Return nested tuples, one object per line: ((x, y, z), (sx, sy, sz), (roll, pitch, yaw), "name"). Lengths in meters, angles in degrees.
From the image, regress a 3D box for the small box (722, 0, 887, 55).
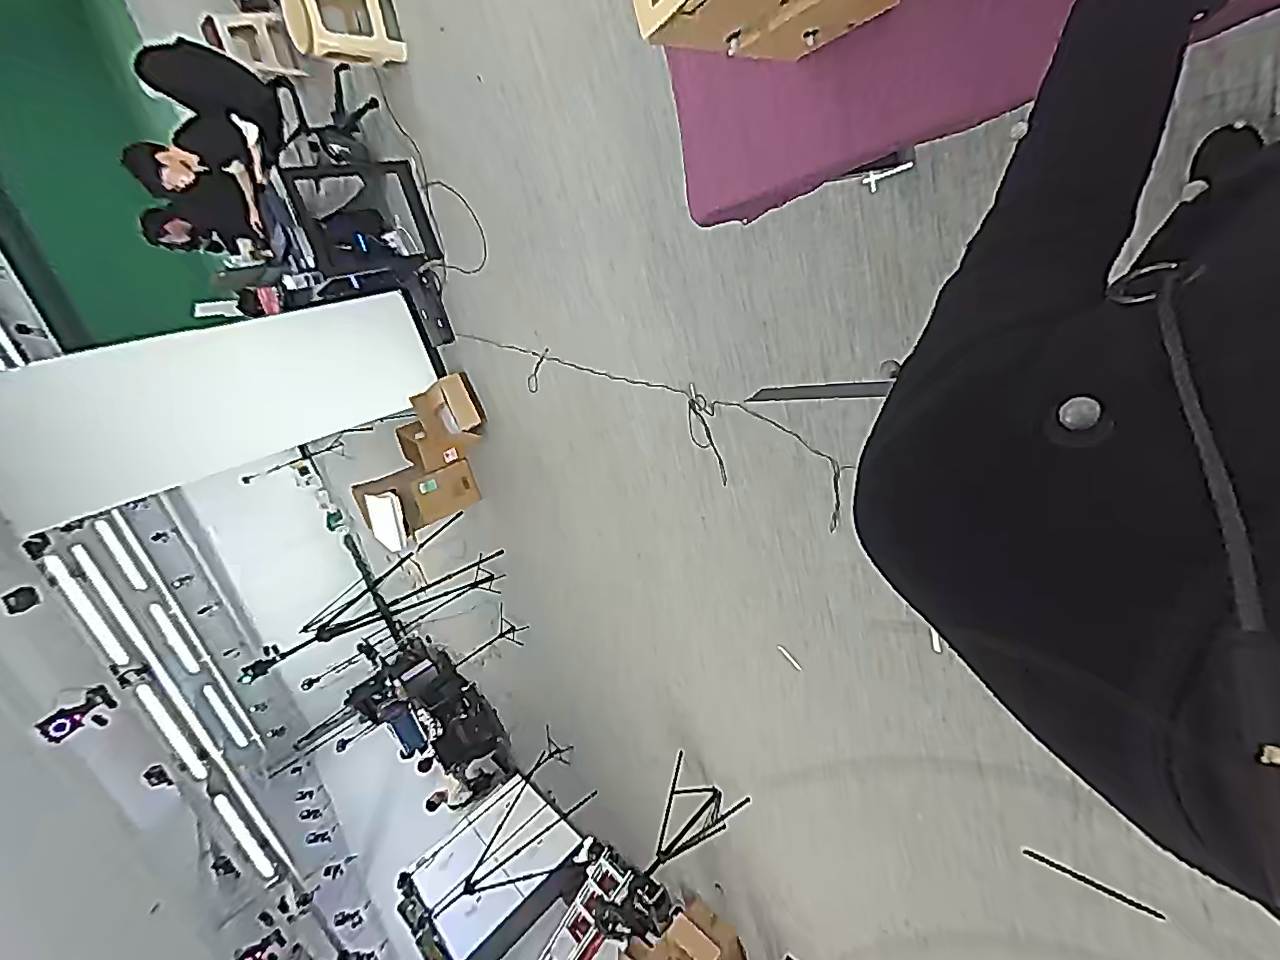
((0.208, -0.689, 0.702), (0.168, 0.176, 0.179), (10, 121, 47), "small box")

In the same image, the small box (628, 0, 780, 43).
((0.085, -0.633, 0.607), (0.168, 0.176, 0.179), (4, 117, 50), "small box")
